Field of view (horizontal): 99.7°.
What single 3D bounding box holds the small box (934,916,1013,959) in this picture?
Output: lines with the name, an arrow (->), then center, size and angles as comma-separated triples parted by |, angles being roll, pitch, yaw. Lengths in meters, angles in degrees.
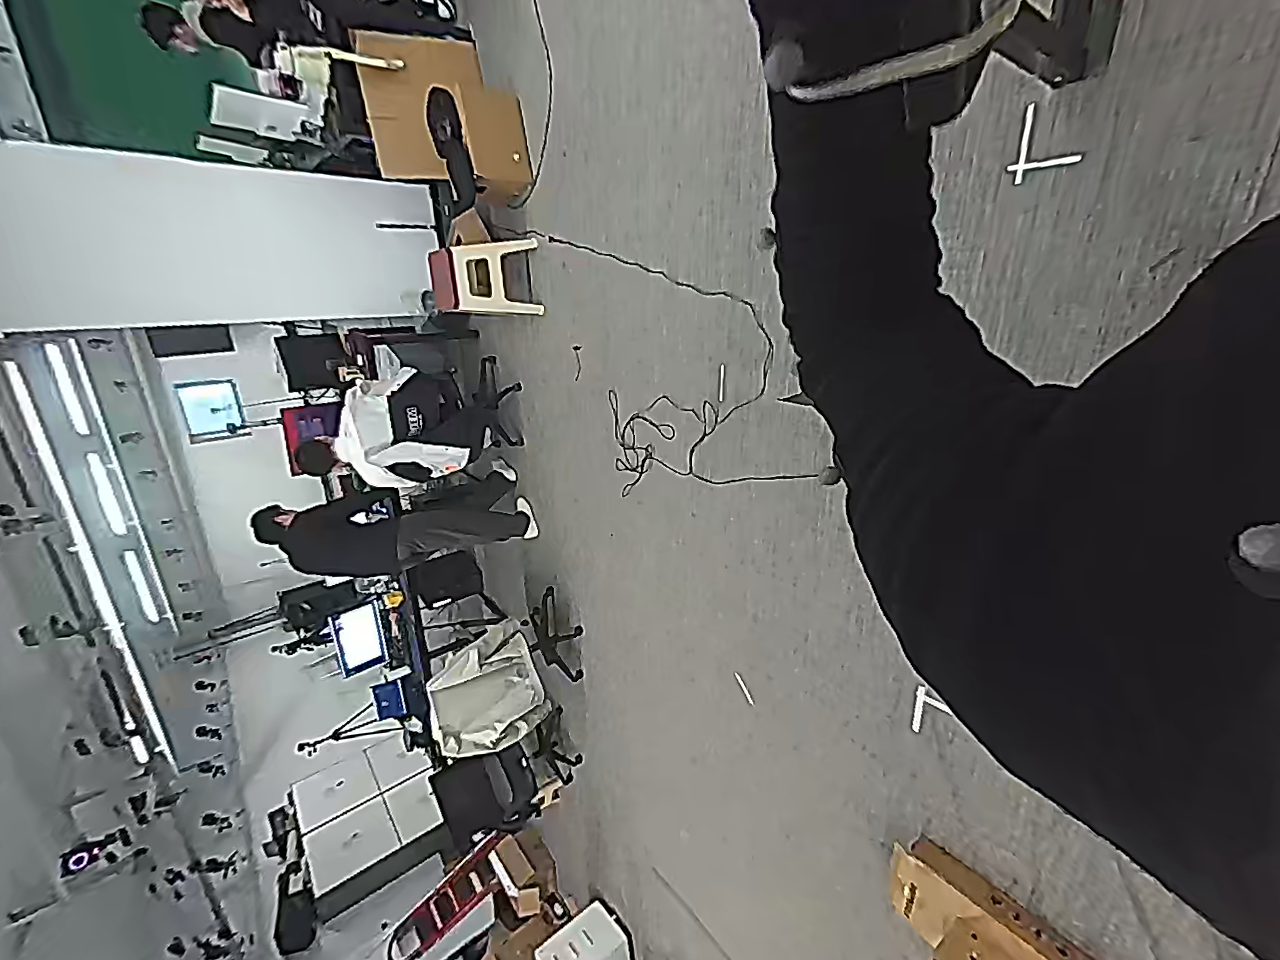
small box -> 0.971, 1.441, 1.578 | 0.168, 0.176, 0.179 | 19, 118, 48
